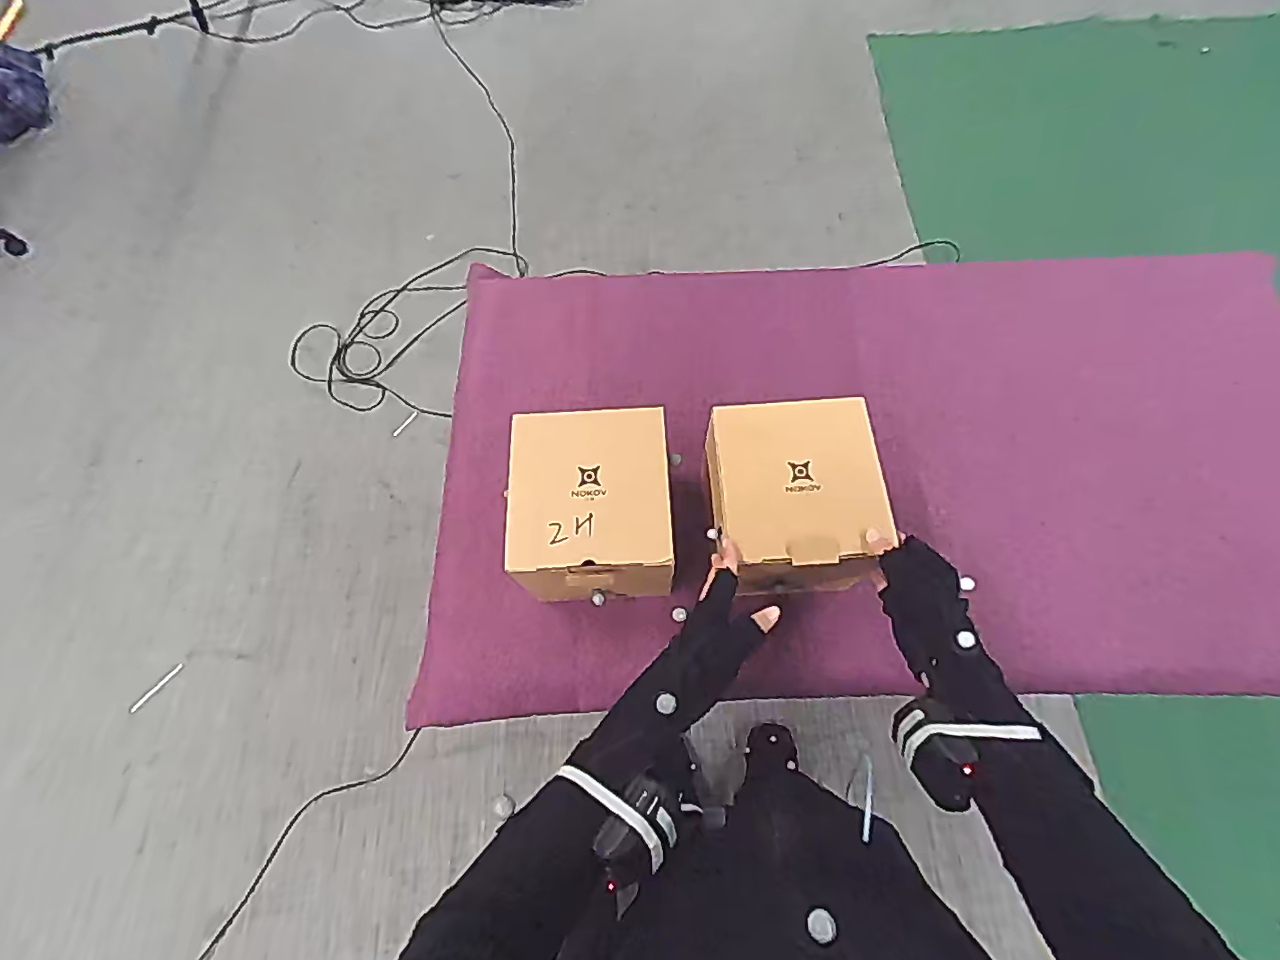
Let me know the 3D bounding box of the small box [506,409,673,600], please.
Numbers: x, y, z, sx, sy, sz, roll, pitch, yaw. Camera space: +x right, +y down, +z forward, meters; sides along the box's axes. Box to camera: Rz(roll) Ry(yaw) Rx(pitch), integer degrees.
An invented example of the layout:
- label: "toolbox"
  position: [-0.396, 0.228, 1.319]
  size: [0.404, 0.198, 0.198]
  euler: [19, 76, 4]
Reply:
- label: "small box"
  position: [-0.051, 0.035, 0.633]
  size: [0.168, 0.176, 0.179]
  euler: [-3, 68, 1]

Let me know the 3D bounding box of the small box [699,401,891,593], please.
- label: "small box"
  position: [0.162, 0.027, 0.632]
  size: [0.168, 0.176, 0.179]
  euler: [-4, 68, 1]
